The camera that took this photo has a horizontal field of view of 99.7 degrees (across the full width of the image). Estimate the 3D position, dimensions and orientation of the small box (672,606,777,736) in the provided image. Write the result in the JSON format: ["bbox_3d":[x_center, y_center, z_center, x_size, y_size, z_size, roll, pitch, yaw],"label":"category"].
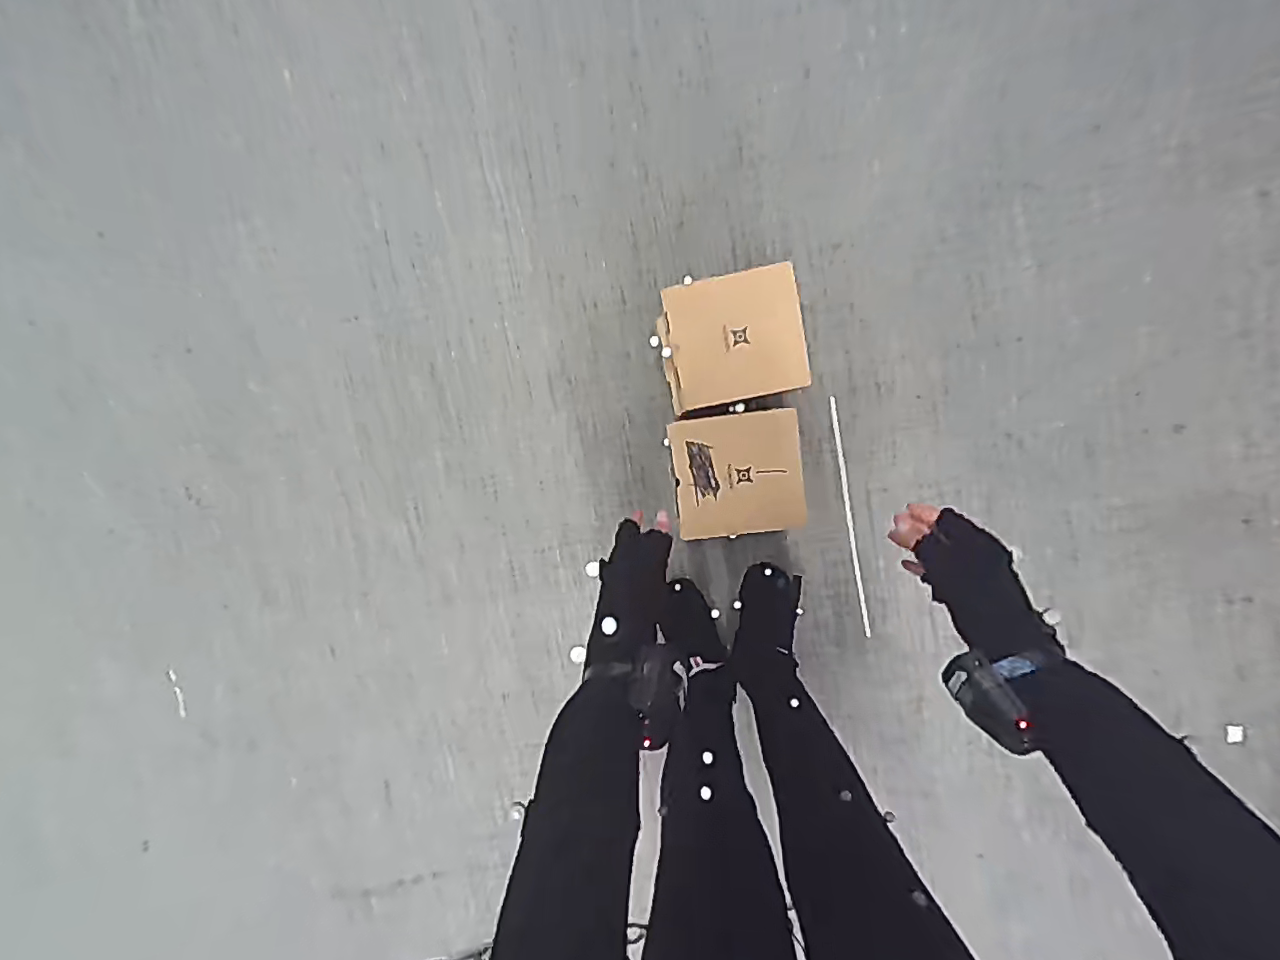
[{"bbox_3d":[0.157,0.361,1.048,0.168,0.176,0.179,-3,99,-6],"label":"small box"}]
